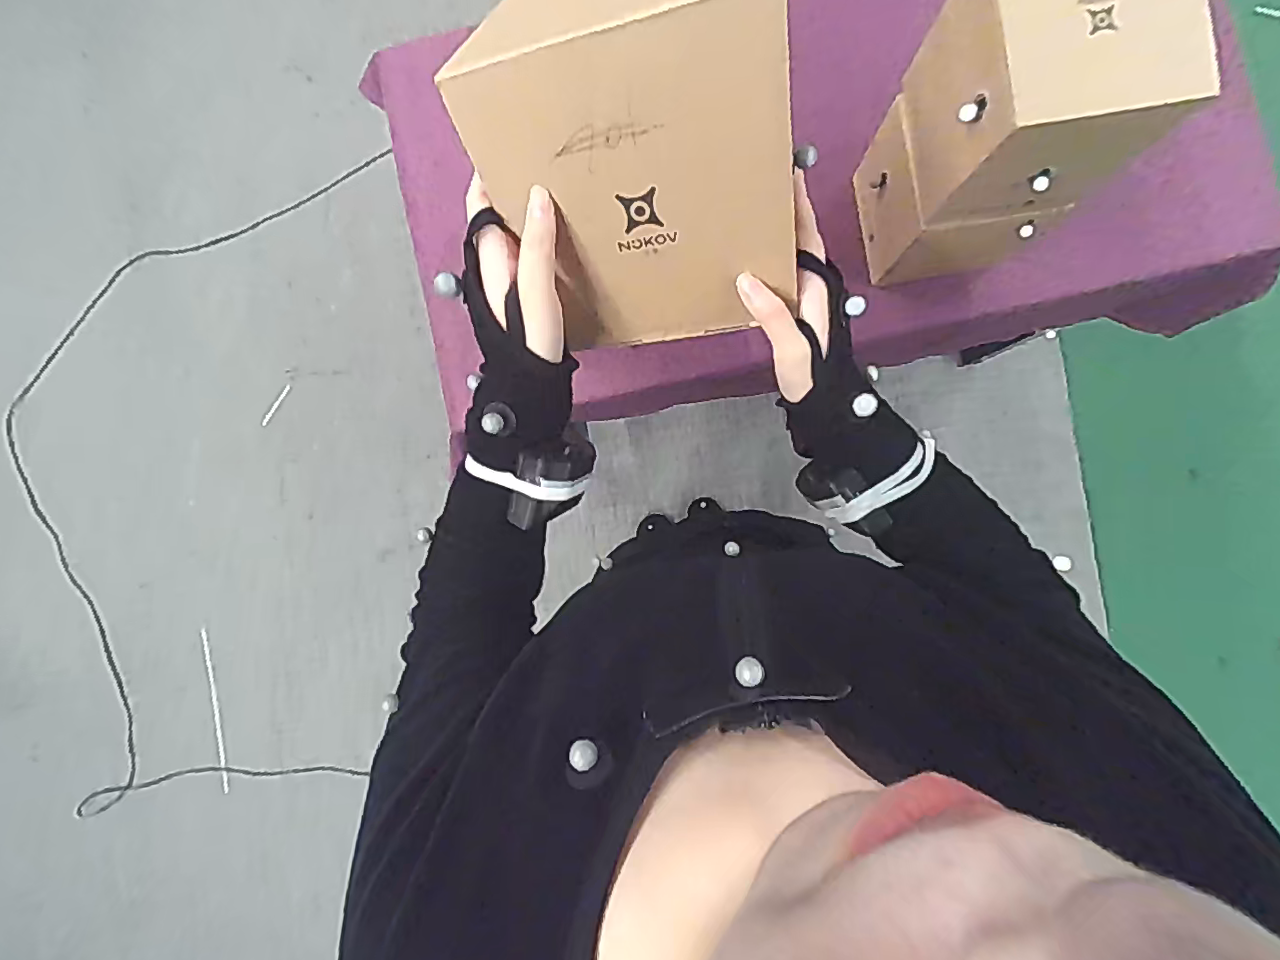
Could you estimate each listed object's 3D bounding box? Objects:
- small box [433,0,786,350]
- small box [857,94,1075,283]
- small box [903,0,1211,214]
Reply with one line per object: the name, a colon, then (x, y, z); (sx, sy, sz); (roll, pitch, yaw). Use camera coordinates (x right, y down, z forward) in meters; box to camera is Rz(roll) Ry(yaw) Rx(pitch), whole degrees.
small box: (0.008, -0.213, 0.351); (0.168, 0.179, 0.176); (-3, 53, 16)
small box: (0.395, -0.372, 0.692); (0.179, 0.176, 0.168); (-9, 87, 3)
small box: (0.382, -0.384, 0.529); (0.168, 0.176, 0.179); (-7, 88, 3)
